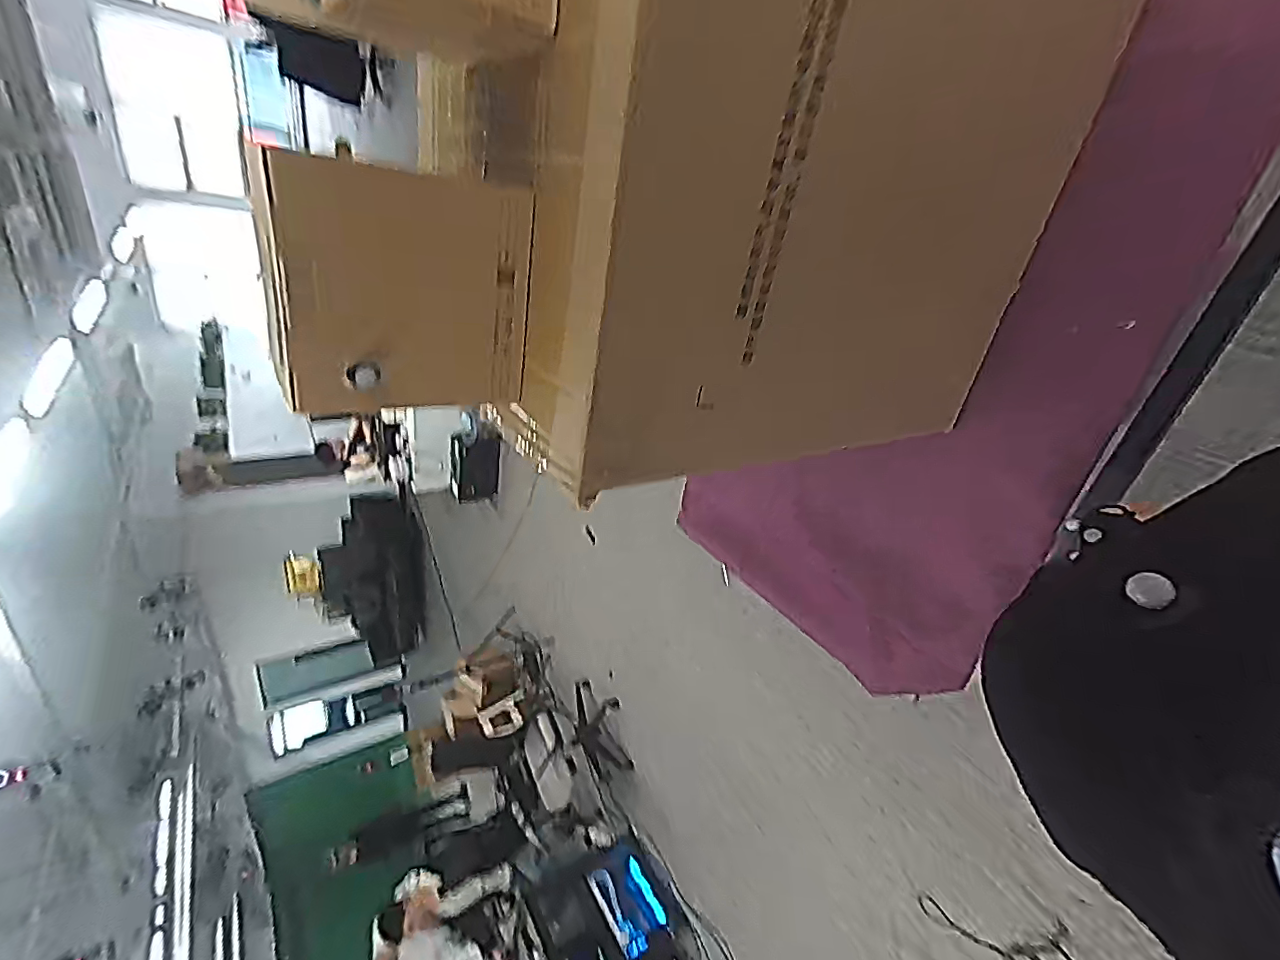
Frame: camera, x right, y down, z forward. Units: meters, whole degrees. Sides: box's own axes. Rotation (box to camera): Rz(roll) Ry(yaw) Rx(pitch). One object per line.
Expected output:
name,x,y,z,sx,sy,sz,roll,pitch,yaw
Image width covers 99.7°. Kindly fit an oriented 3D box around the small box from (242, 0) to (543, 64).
small box,-0.163,-0.379,0.325,0.179,0.176,0.168,36,127,45
